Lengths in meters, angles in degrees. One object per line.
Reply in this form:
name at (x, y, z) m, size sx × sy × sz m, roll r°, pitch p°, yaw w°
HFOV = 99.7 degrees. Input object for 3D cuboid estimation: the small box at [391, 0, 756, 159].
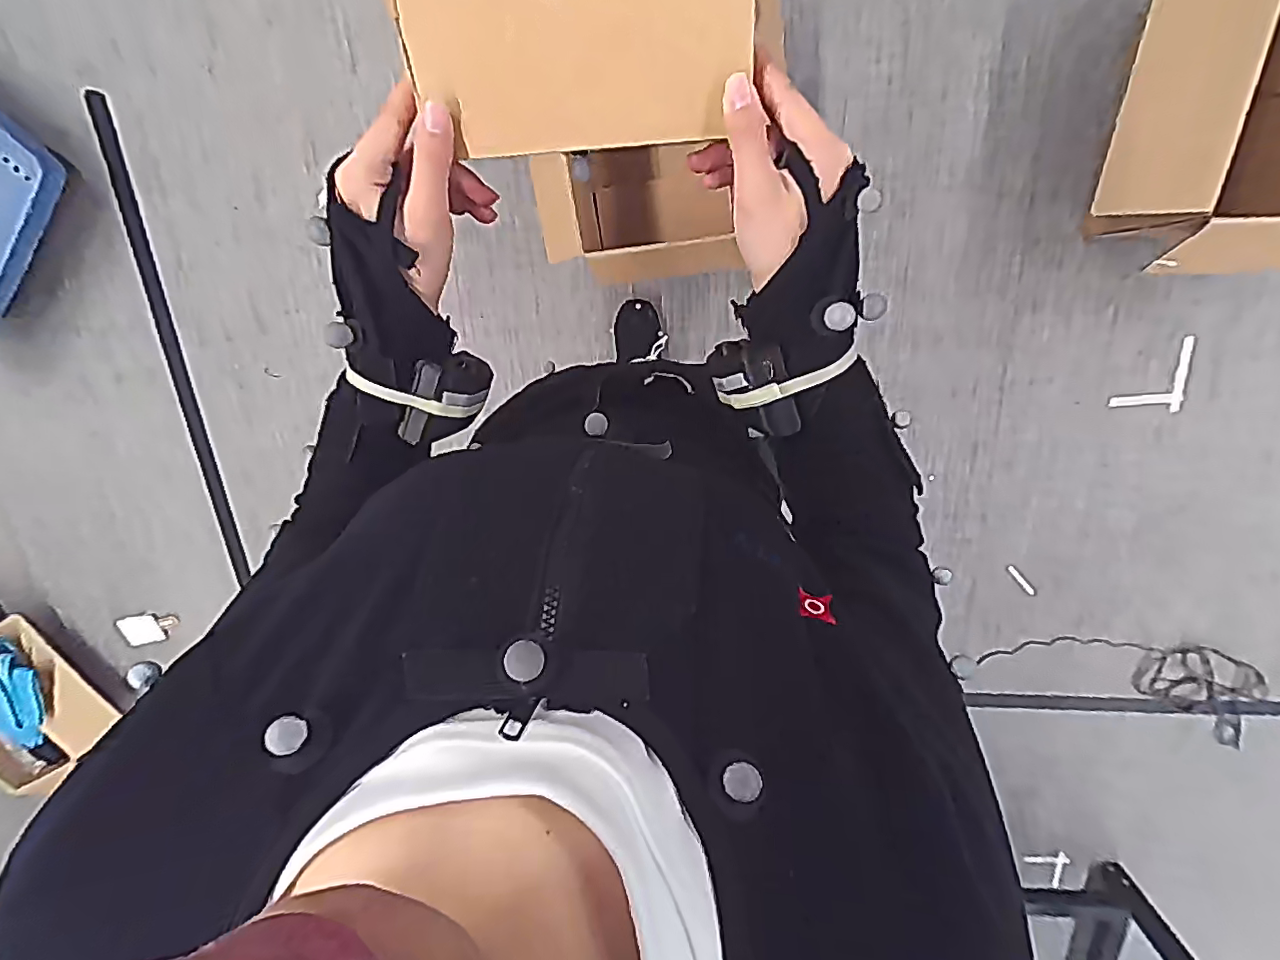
small box at (-0.033, -0.290, 0.313) m, size 0.179 × 0.176 × 0.168 m, roll -3°, pitch 122°, yaw 3°
